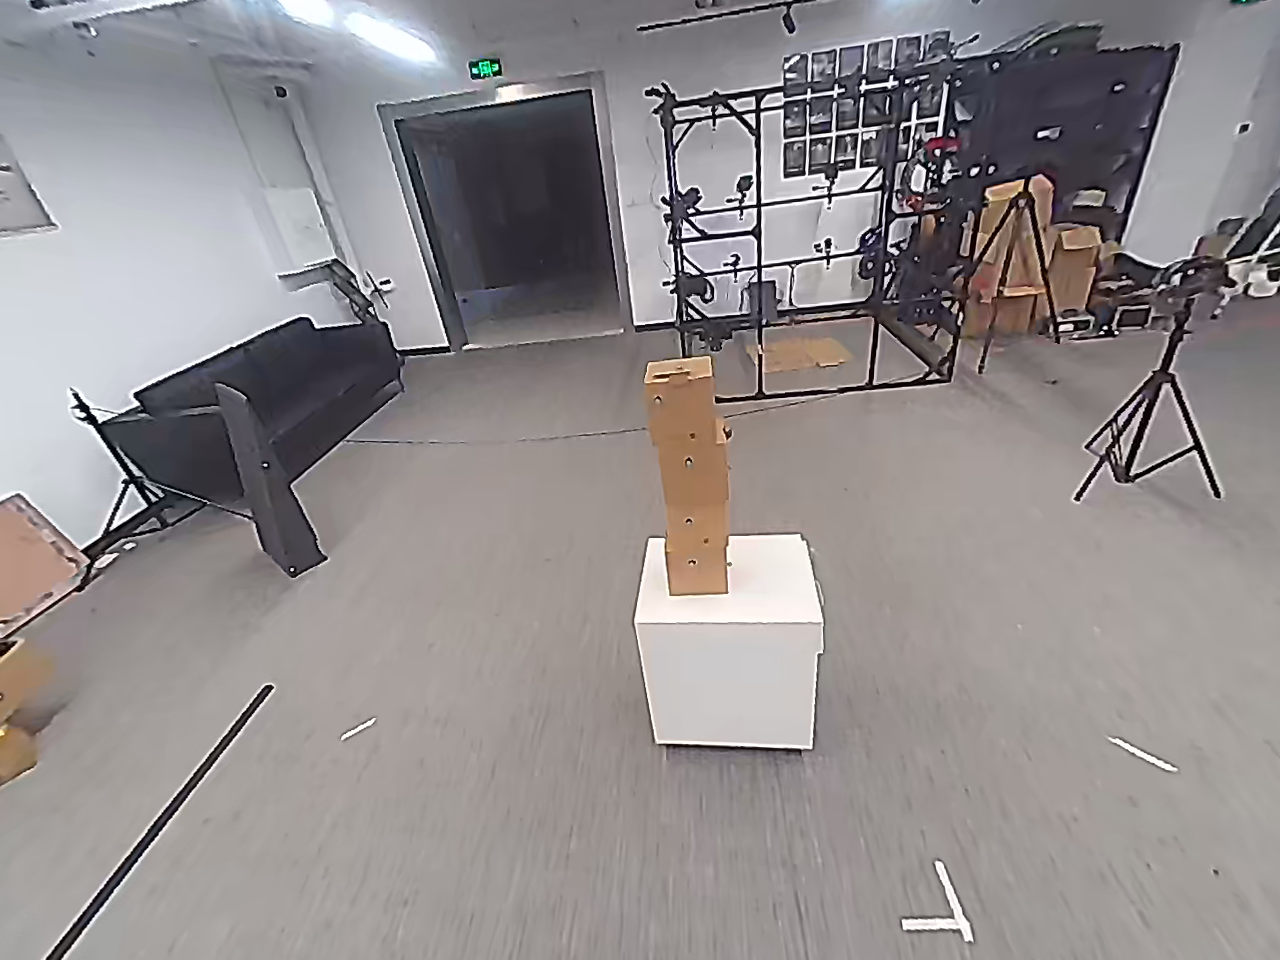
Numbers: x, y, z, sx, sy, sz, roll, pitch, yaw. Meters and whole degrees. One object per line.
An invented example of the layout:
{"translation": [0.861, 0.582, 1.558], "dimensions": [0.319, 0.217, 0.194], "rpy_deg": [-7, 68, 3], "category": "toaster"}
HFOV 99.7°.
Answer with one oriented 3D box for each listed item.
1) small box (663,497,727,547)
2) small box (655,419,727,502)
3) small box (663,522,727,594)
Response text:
{"translation": [0.161, 0.082, 1.553], "dimensions": [0.168, 0.176, 0.179], "rpy_deg": [-3, 29, 8], "category": "small box"}
{"translation": [0.141, -0.051, 1.455], "dimensions": [0.179, 0.176, 0.168], "rpy_deg": [-3, 30, 8], "category": "small box"}
{"translation": [0.167, 0.229, 1.623], "dimensions": [0.179, 0.176, 0.168], "rpy_deg": [-3, 30, 7], "category": "small box"}
